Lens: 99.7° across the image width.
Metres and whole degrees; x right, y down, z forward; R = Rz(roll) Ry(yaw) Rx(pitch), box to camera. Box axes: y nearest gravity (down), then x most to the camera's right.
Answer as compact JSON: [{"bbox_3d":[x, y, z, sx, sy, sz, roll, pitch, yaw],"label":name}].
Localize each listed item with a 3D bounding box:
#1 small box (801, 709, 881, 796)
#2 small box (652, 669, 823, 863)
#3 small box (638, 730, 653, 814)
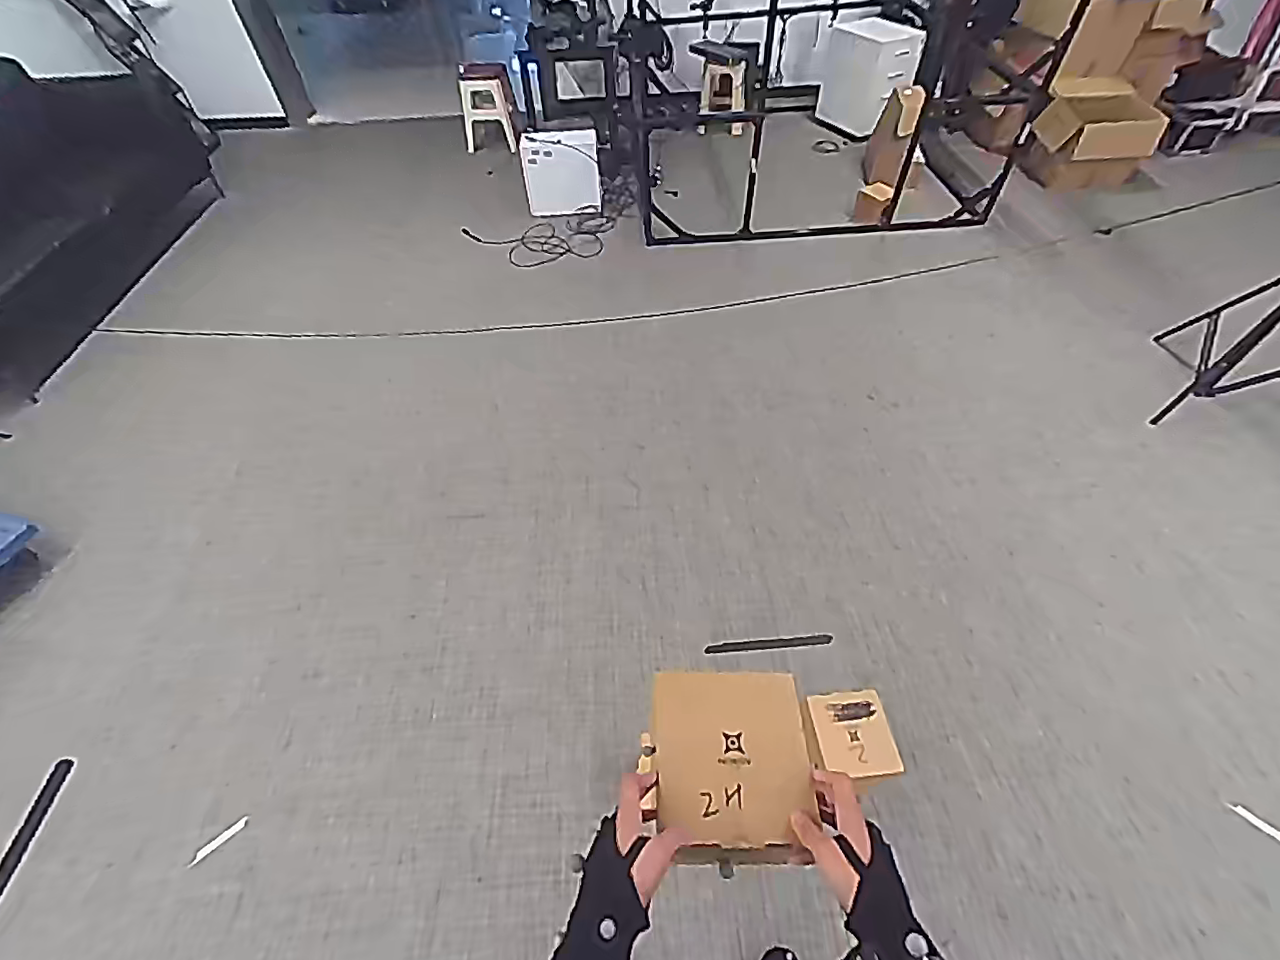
[{"bbox_3d":[0.483,0.702,1.387,0.179,0.176,0.168,-4,52,-2],"label":"small box"},{"bbox_3d":[0.101,0.347,0.654,0.168,0.176,0.179,1,50,-1],"label":"small box"},{"bbox_3d":[0.090,0.748,1.372,0.179,0.176,0.168,1,52,5],"label":"small box"}]
